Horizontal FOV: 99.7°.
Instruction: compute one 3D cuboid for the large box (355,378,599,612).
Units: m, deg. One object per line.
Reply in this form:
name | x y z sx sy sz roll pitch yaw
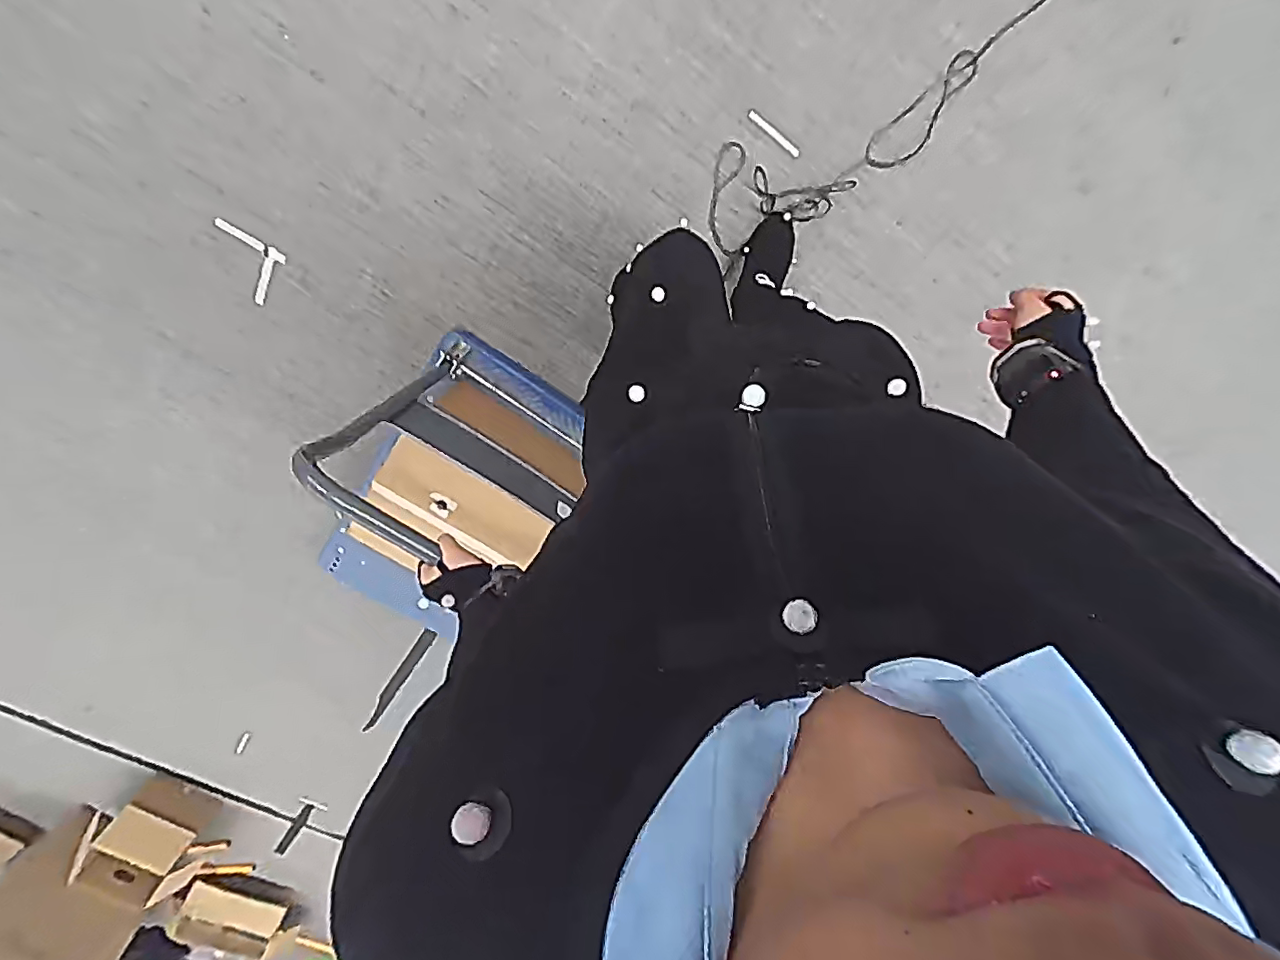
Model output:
large box | -0.357 0.029 1.277 0.408 0.320 0.320 35 114 -13
